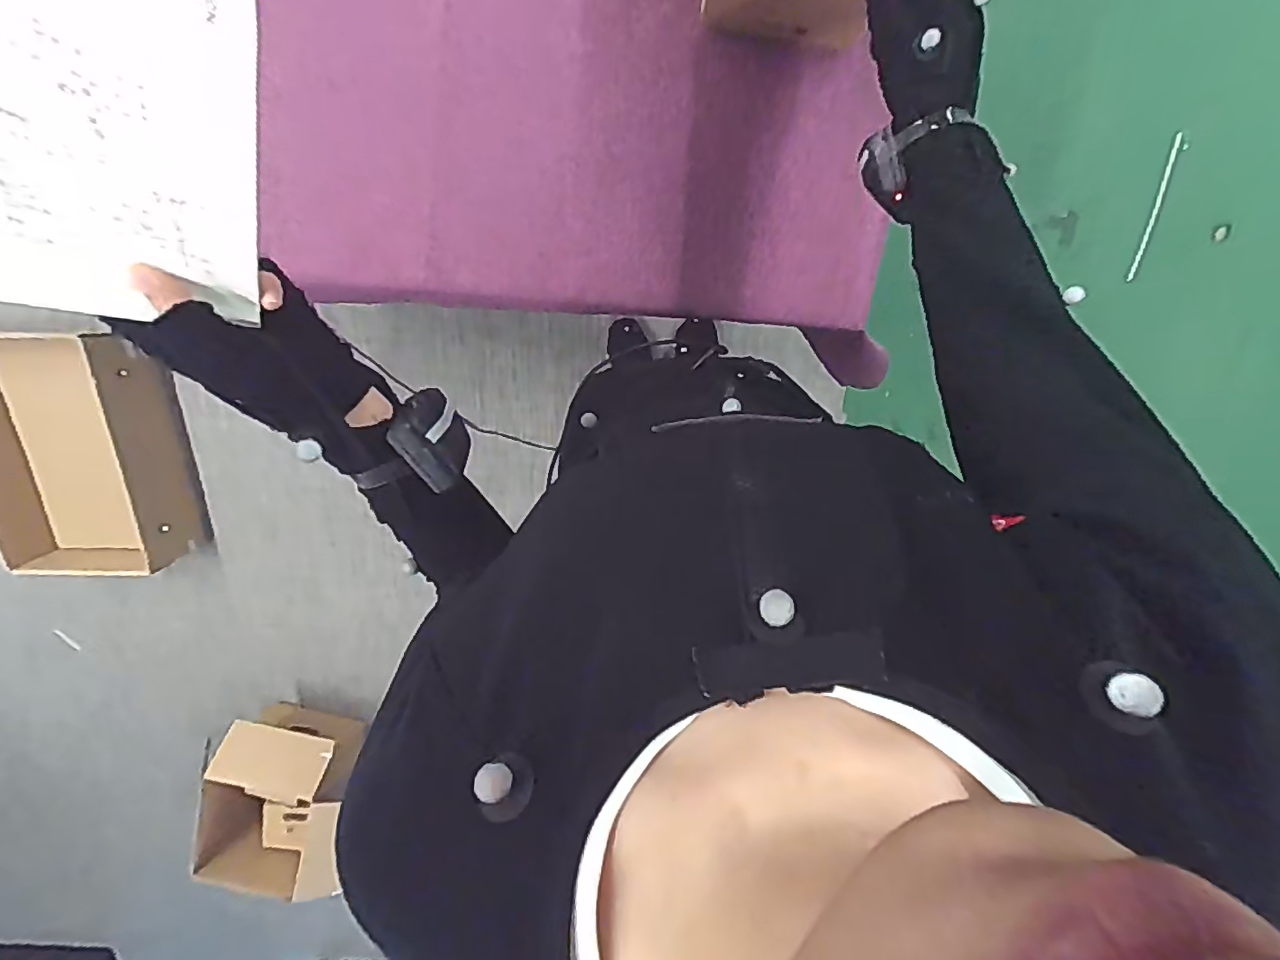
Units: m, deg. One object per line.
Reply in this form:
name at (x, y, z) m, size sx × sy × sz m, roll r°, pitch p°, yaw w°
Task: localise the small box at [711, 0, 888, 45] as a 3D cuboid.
small box at (0.159, -0.526, 0.464) m, size 0.168 × 0.176 × 0.179 m, roll 9°, pitch 108°, yaw -2°
